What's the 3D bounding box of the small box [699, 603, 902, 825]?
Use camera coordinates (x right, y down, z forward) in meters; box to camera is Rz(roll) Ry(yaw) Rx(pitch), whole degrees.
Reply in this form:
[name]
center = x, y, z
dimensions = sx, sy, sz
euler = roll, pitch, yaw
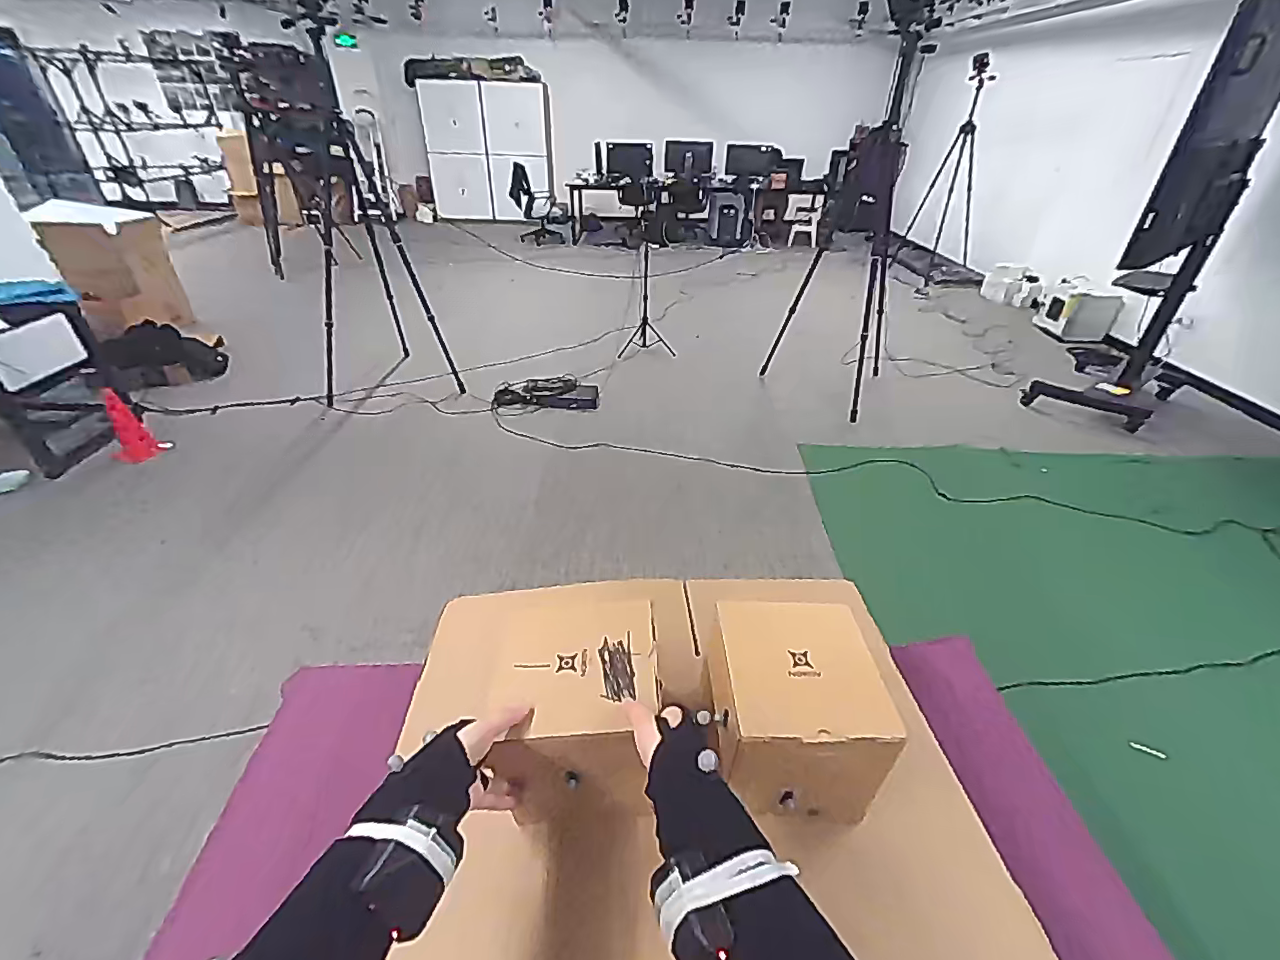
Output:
[small box]
center = 0.166, 0.268, 0.631
dimensions = 0.168, 0.176, 0.179
euler = 2, 35, -3
